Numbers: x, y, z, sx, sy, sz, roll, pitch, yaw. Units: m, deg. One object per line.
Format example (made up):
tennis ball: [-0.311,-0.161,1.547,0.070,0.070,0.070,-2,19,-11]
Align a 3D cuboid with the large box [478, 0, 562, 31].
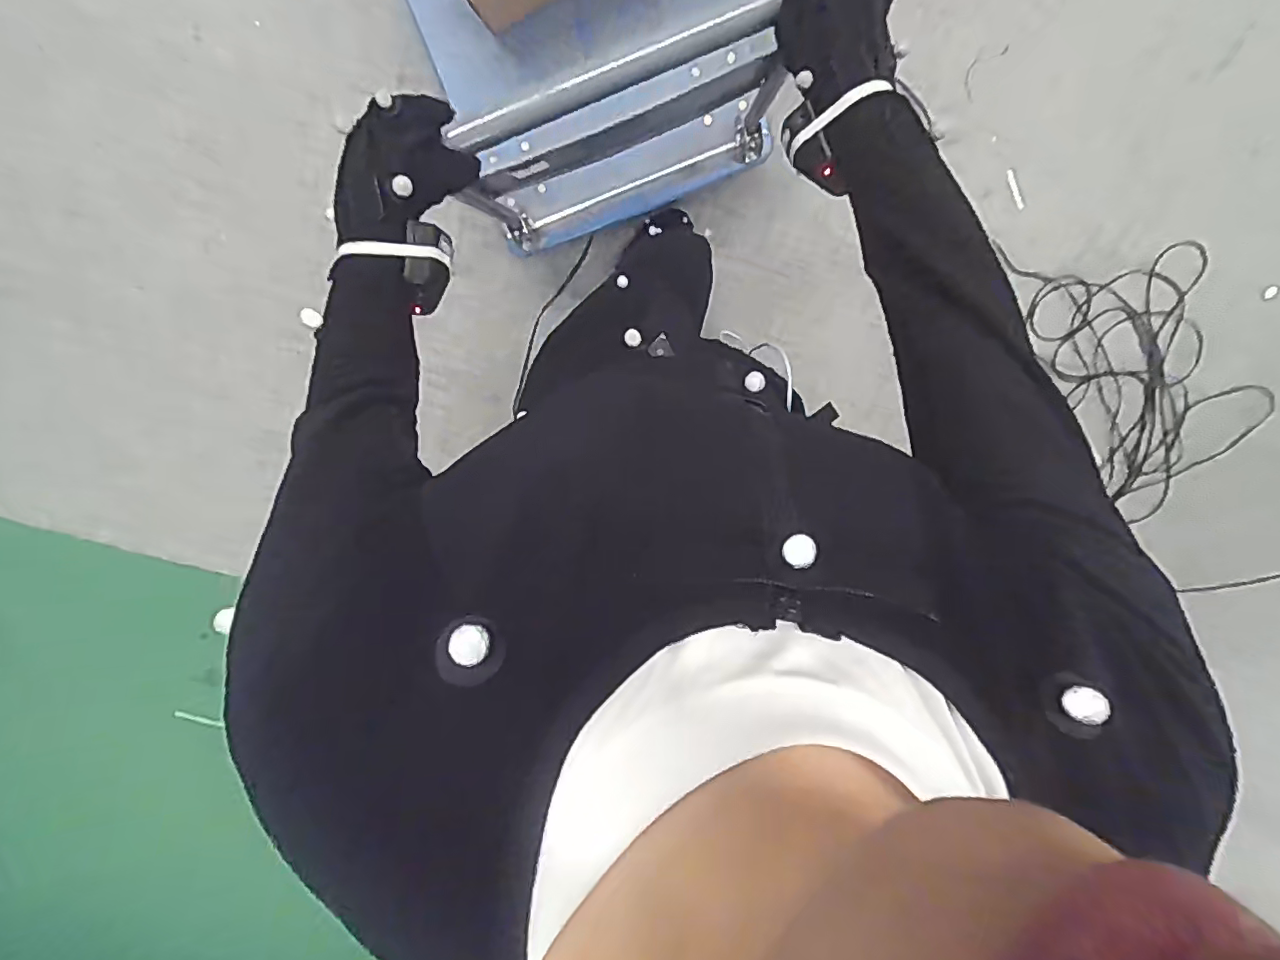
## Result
large box: [-0.136,-0.969,0.783,0.408,0.320,0.320,-20,110,10]
